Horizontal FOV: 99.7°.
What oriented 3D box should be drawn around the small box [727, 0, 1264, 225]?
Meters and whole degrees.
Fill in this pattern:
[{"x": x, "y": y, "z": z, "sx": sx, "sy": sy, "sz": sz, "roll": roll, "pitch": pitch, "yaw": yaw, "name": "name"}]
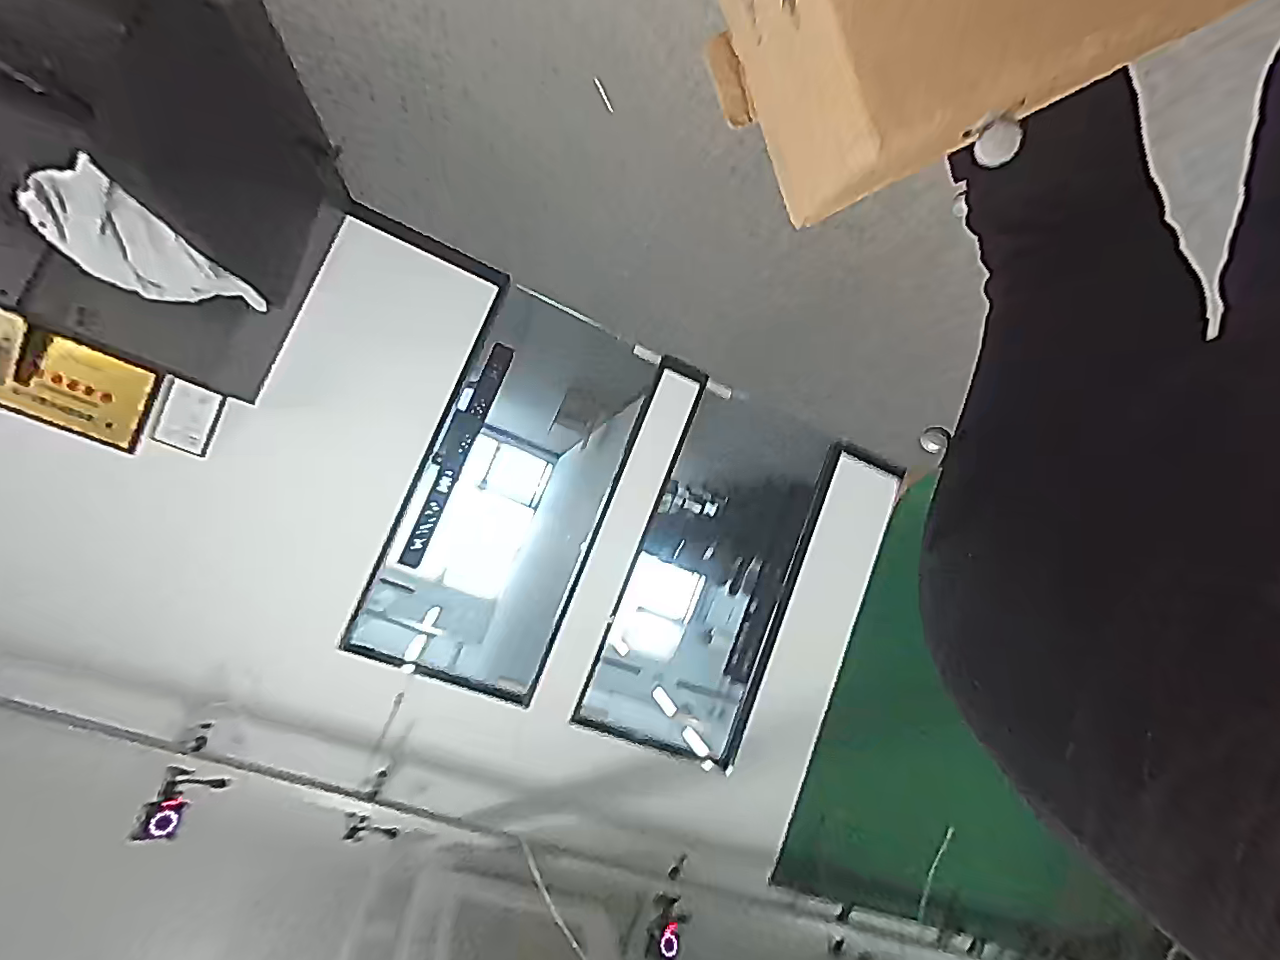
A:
[{"x": 0.116, "y": -0.208, "z": 0.174, "sx": 0.168, "sy": 0.176, "sz": 0.179, "roll": 64, "pitch": -162, "yaw": -13, "name": "small box"}]
